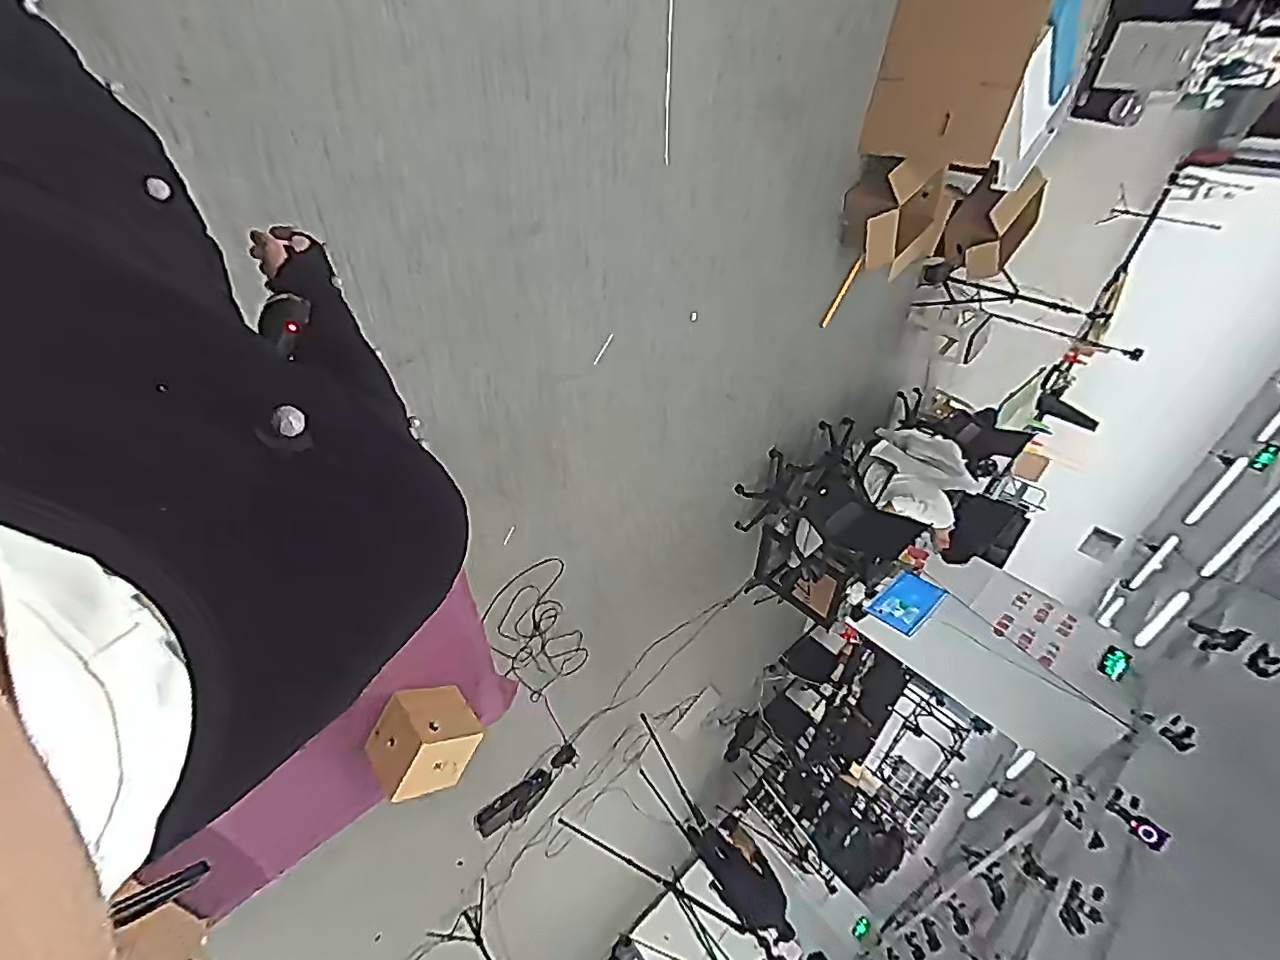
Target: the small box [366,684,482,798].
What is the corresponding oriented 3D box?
[{"bbox_3d":[-0.525,0.616,1.302,0.179,0.176,0.168,21,103,-54],"label":"small box"}]
